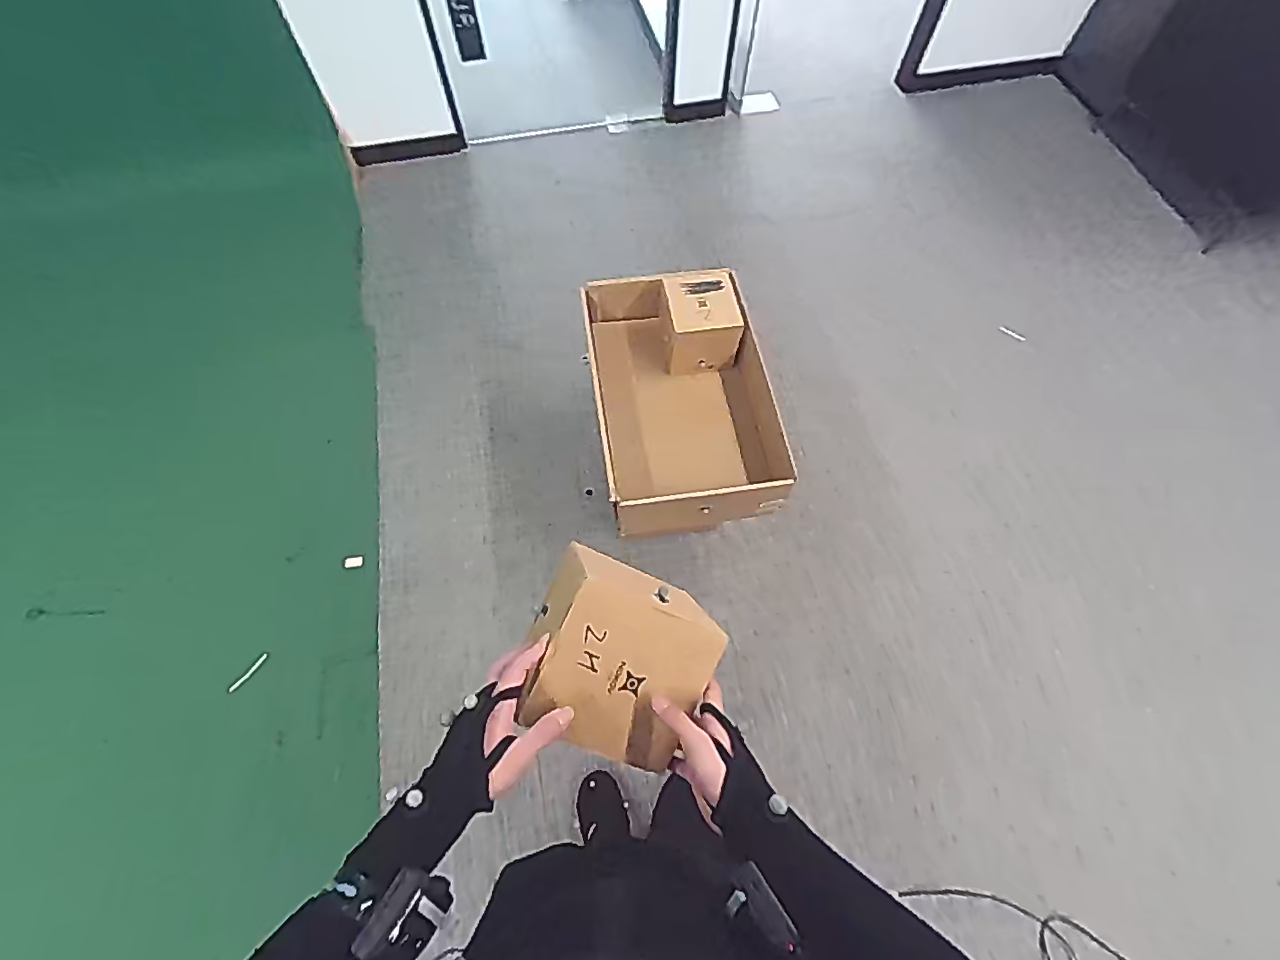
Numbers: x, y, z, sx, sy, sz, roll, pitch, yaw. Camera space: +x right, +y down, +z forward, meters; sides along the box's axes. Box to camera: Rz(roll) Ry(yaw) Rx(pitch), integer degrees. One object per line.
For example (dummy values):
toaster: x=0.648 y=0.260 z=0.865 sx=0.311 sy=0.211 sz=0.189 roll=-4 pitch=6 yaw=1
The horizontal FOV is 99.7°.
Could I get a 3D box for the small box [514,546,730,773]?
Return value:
small box: x=-0.030 y=0.193 z=0.630 sx=0.179 sy=0.176 sz=0.168 roll=27 pitch=90 yaw=-12
